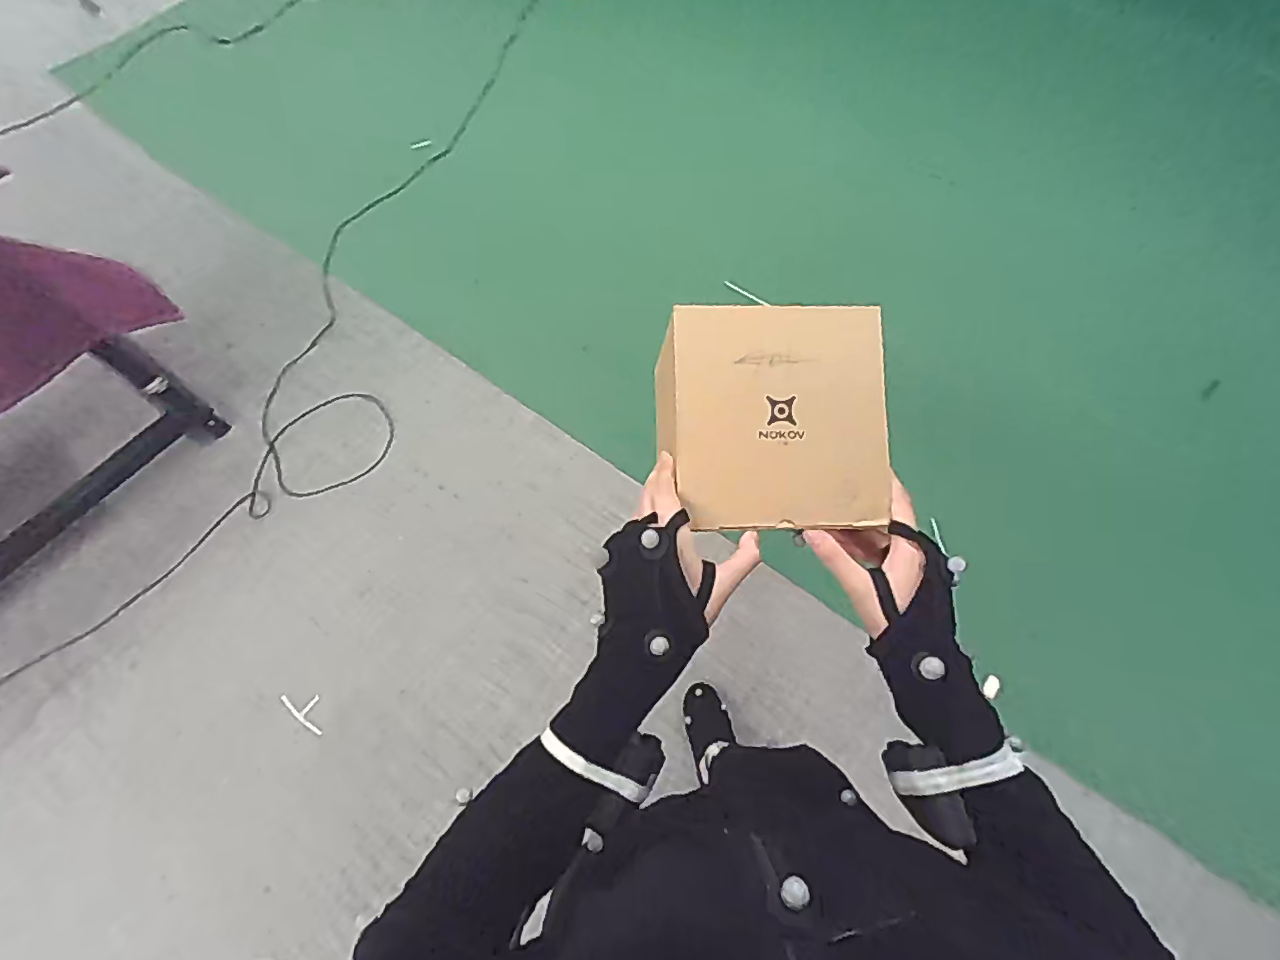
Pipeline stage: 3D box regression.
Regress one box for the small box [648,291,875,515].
[{"bbox_3d":[0.096,-0.056,0.499,0.168,0.176,0.179,-1,85,-3],"label":"small box"}]
